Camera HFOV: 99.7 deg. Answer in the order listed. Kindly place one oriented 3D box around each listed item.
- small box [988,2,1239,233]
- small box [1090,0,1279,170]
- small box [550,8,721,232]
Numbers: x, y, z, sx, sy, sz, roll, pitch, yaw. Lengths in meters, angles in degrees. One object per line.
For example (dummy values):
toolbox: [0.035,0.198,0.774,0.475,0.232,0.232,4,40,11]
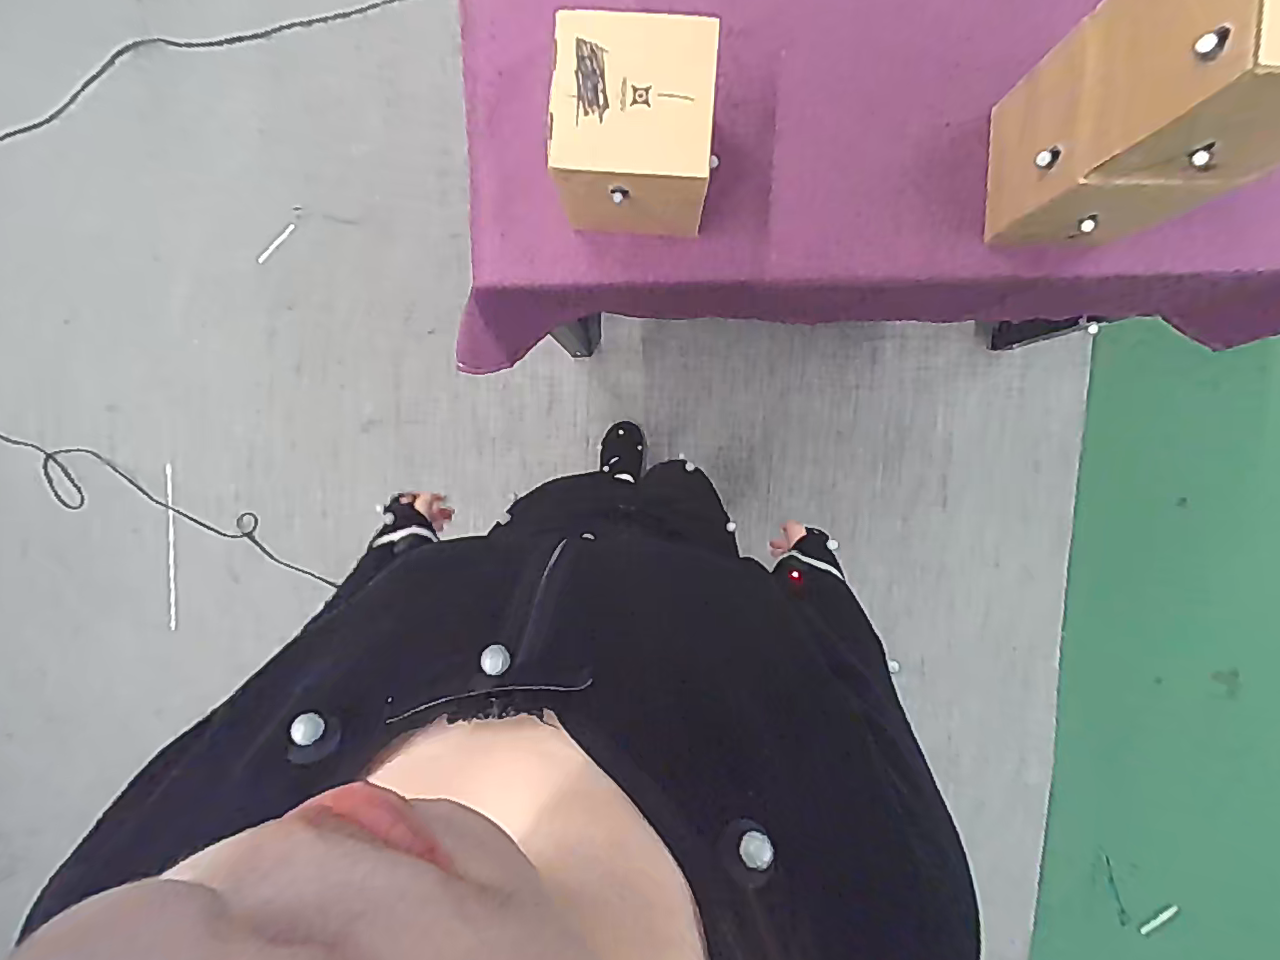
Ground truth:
small box: [0.543,-0.407,0.636,0.168,0.176,0.179,1,94,1]
small box: [0.544,-0.402,0.473,0.168,0.176,0.179,1,95,2]
small box: [-0.003,-0.416,0.653,0.179,0.176,0.168,3,94,1]
